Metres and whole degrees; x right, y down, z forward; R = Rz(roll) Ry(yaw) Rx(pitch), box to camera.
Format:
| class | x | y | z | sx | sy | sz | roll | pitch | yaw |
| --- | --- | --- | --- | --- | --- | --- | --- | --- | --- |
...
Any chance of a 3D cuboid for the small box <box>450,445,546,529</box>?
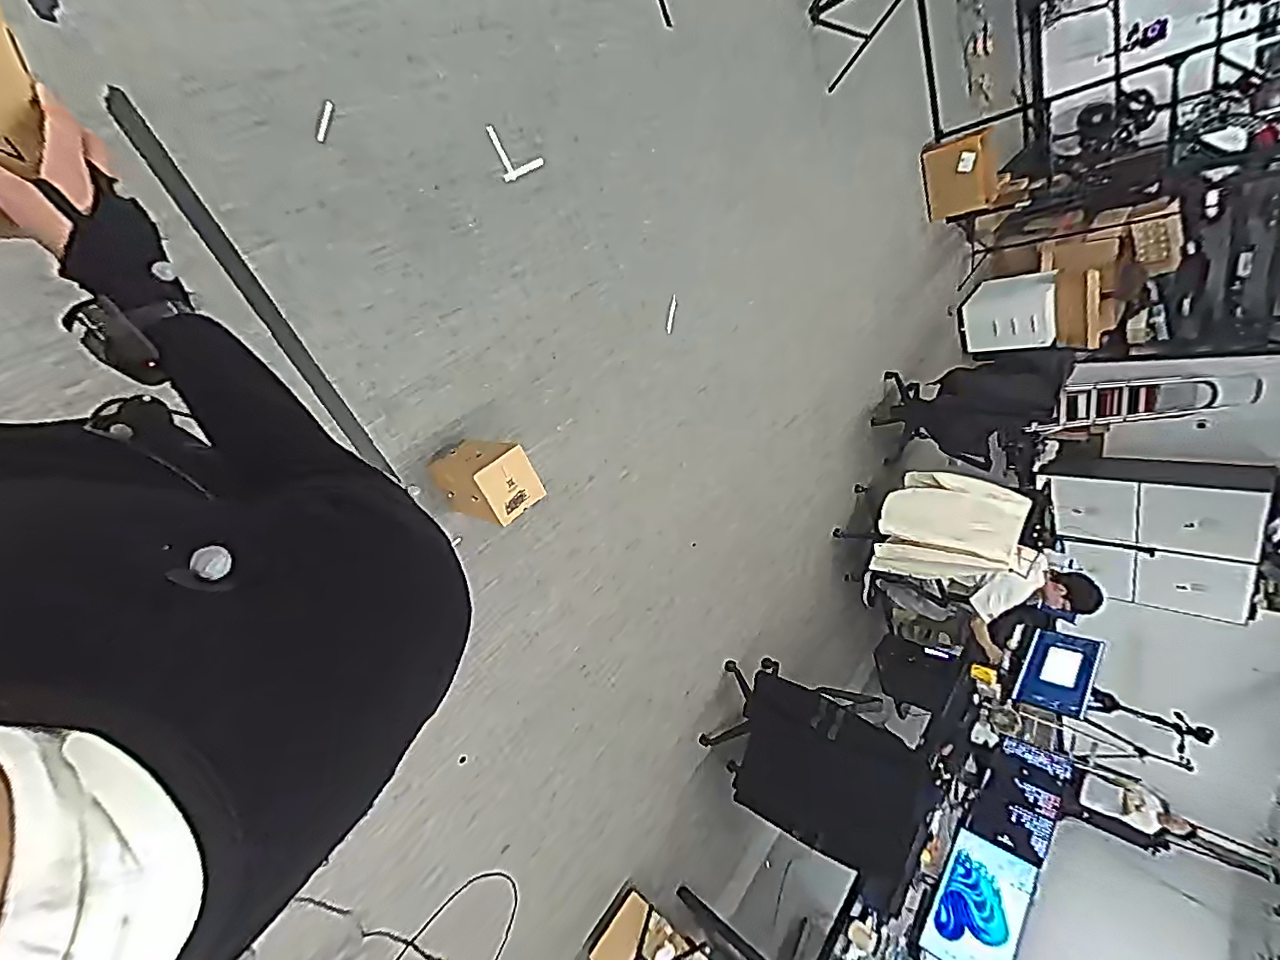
| class | x | y | z | sx | sy | sz | roll | pitch | yaw |
| --- | --- | --- | --- | --- | --- | --- | --- | --- | --- |
| small box | -0.408 | 0.013 | 1.548 | 0.168 | 0.176 | 0.179 | -42 | 120 | -31 |

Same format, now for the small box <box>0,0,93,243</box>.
| class | x | y | z | sx | sy | sz | roll | pitch | yaw |
| --- | --- | --- | --- | --- | --- | --- | --- | --- | --- |
| small box | -0.584 | -0.277 | 0.421 | 0.179 | 0.176 | 0.168 | -28 | 123 | -42 |
